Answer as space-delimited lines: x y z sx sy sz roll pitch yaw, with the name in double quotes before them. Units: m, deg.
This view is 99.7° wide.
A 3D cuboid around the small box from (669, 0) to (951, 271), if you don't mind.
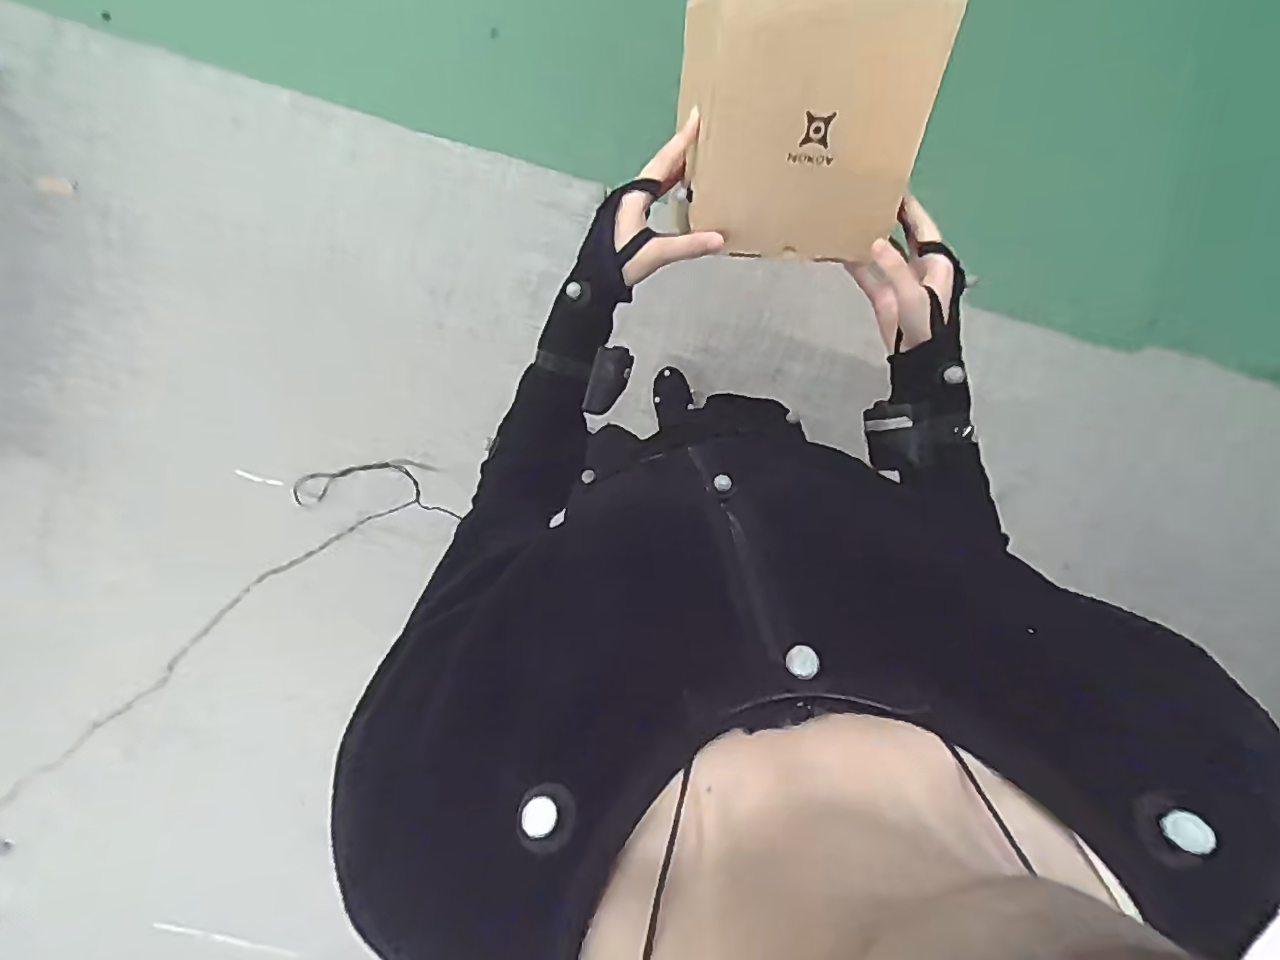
"small box" 0.119 -0.297 0.468 0.168 0.176 0.179 1 128 -4
